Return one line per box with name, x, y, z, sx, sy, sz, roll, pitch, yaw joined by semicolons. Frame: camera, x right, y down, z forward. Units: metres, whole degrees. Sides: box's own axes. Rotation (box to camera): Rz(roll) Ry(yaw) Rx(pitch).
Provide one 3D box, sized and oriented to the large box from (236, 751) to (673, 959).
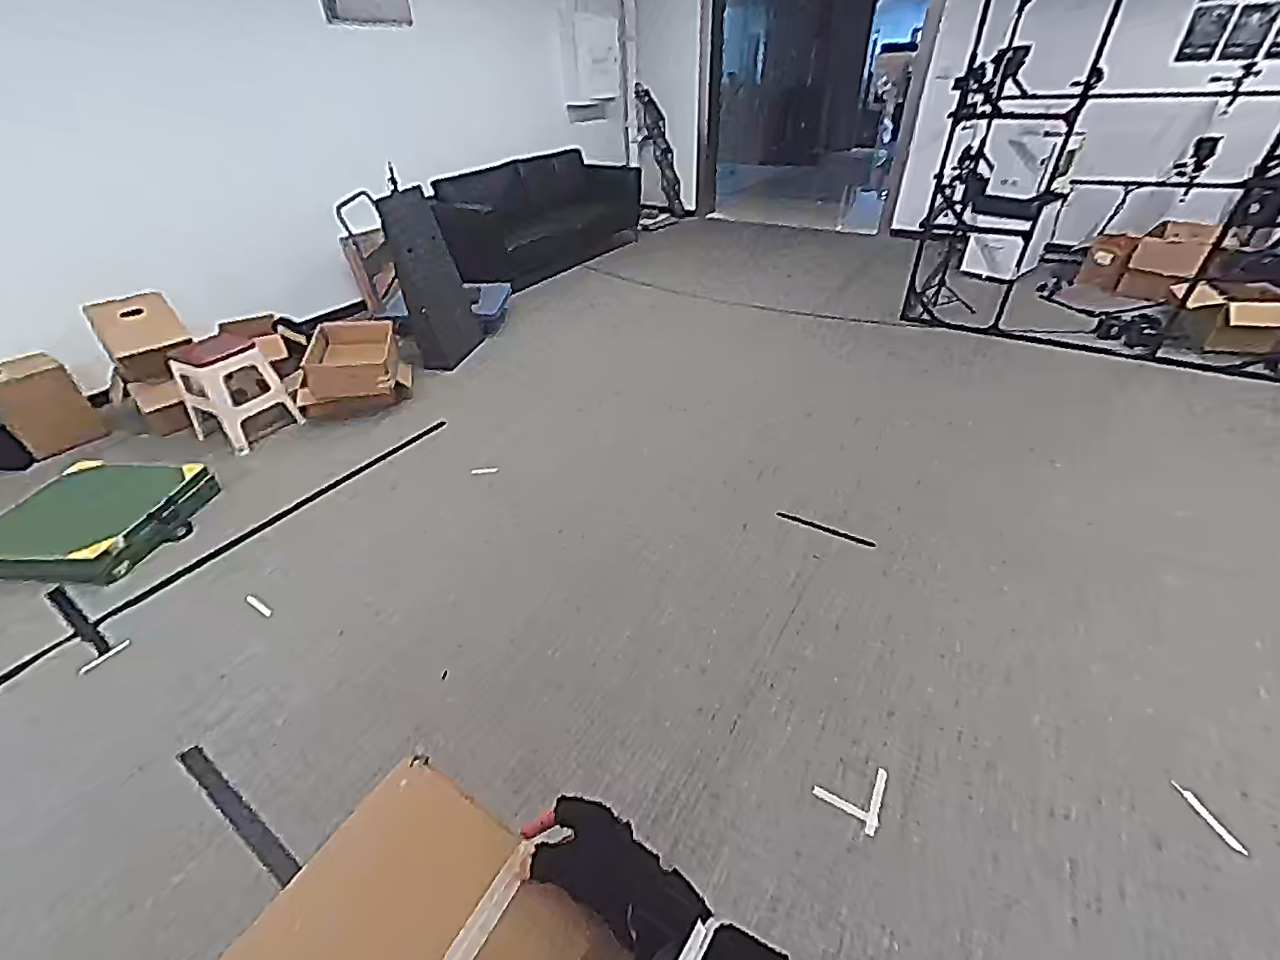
large box;-0.206;0.559;0.479;0.320;0.320;0.408;25;46;21
